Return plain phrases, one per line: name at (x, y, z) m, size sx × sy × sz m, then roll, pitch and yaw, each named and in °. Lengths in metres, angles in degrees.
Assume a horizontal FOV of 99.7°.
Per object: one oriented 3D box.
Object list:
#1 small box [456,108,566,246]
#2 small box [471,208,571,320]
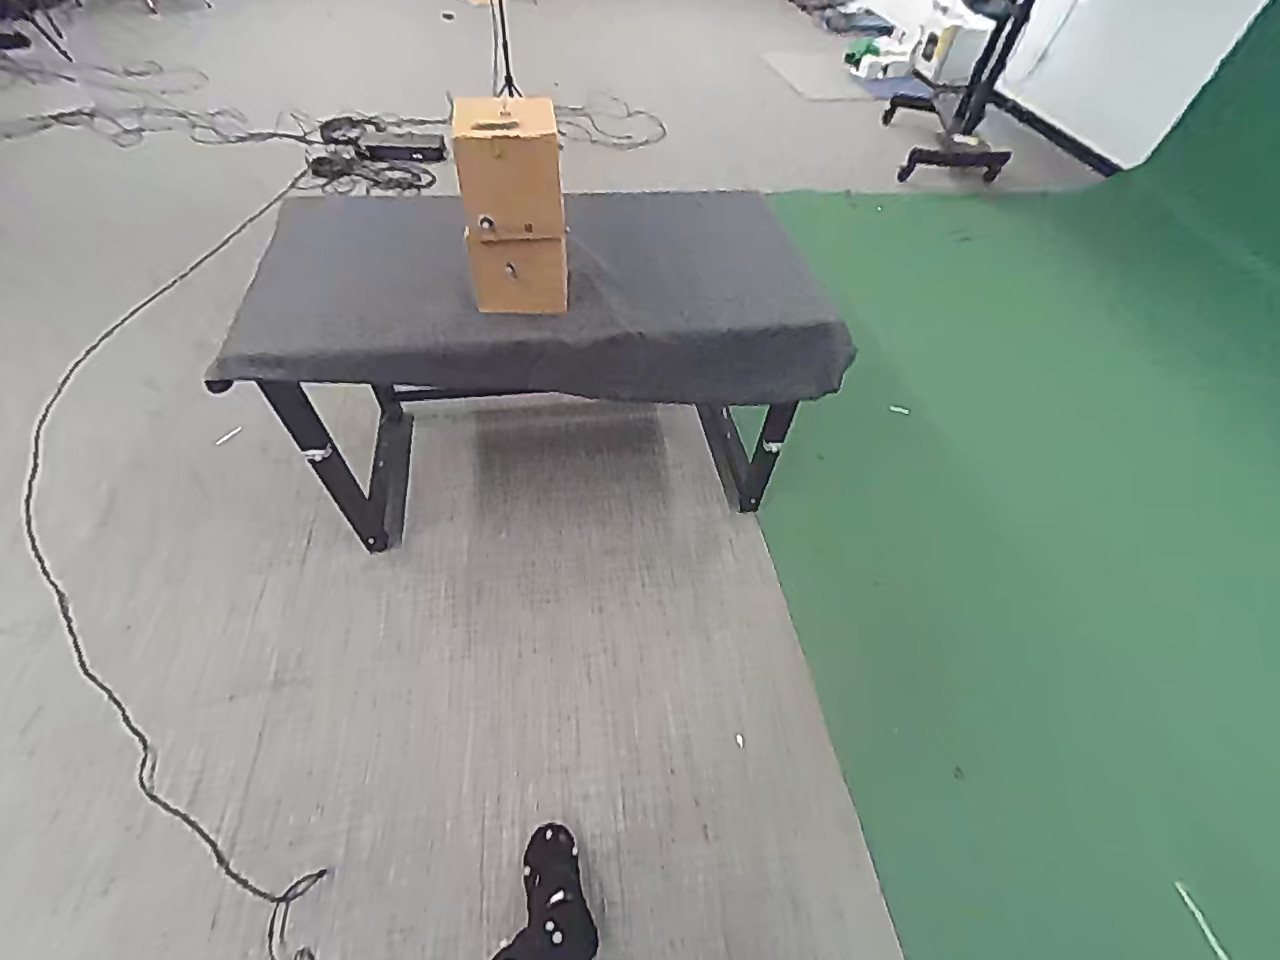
small box at (-0.227, -0.536, 0.968) m, size 0.168 × 0.176 × 0.179 m, roll -8°, pitch 53°, yaw -10°
small box at (-0.235, -0.443, 1.107) m, size 0.179 × 0.176 × 0.168 m, roll -3°, pitch 50°, yaw -7°
